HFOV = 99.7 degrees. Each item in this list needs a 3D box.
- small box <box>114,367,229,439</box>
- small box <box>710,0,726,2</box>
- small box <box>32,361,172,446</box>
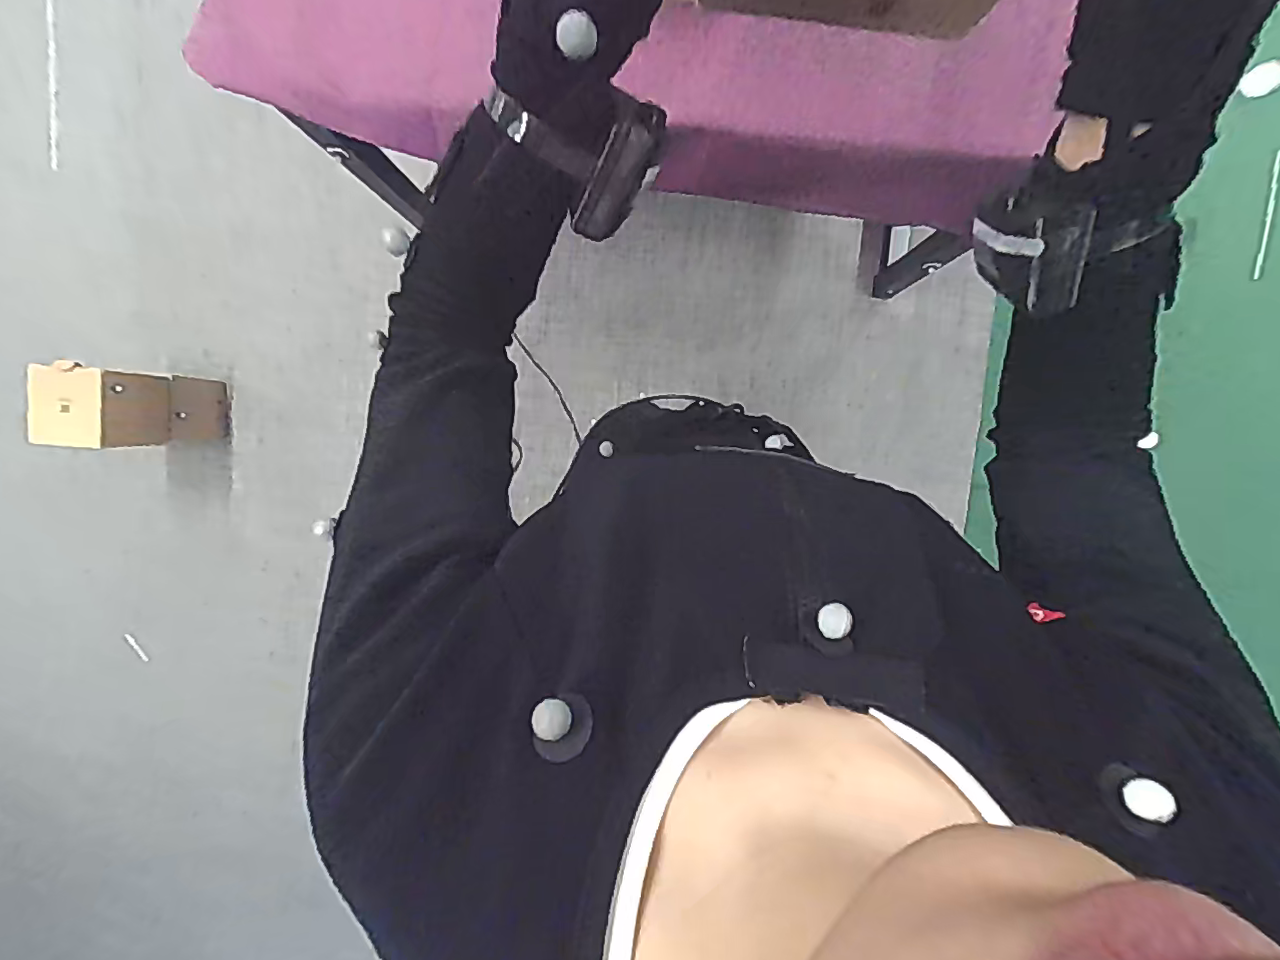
[{"bbox_3d":[-1.227,-0.196,1.415,0.179,0.176,0.168,4,94,2],"label":"small box"},{"bbox_3d":[0.050,-0.694,0.606,0.168,0.176,0.179,8,94,1],"label":"small box"},{"bbox_3d":[-1.236,-0.172,1.253,0.168,0.176,0.179,4,94,1],"label":"small box"}]
